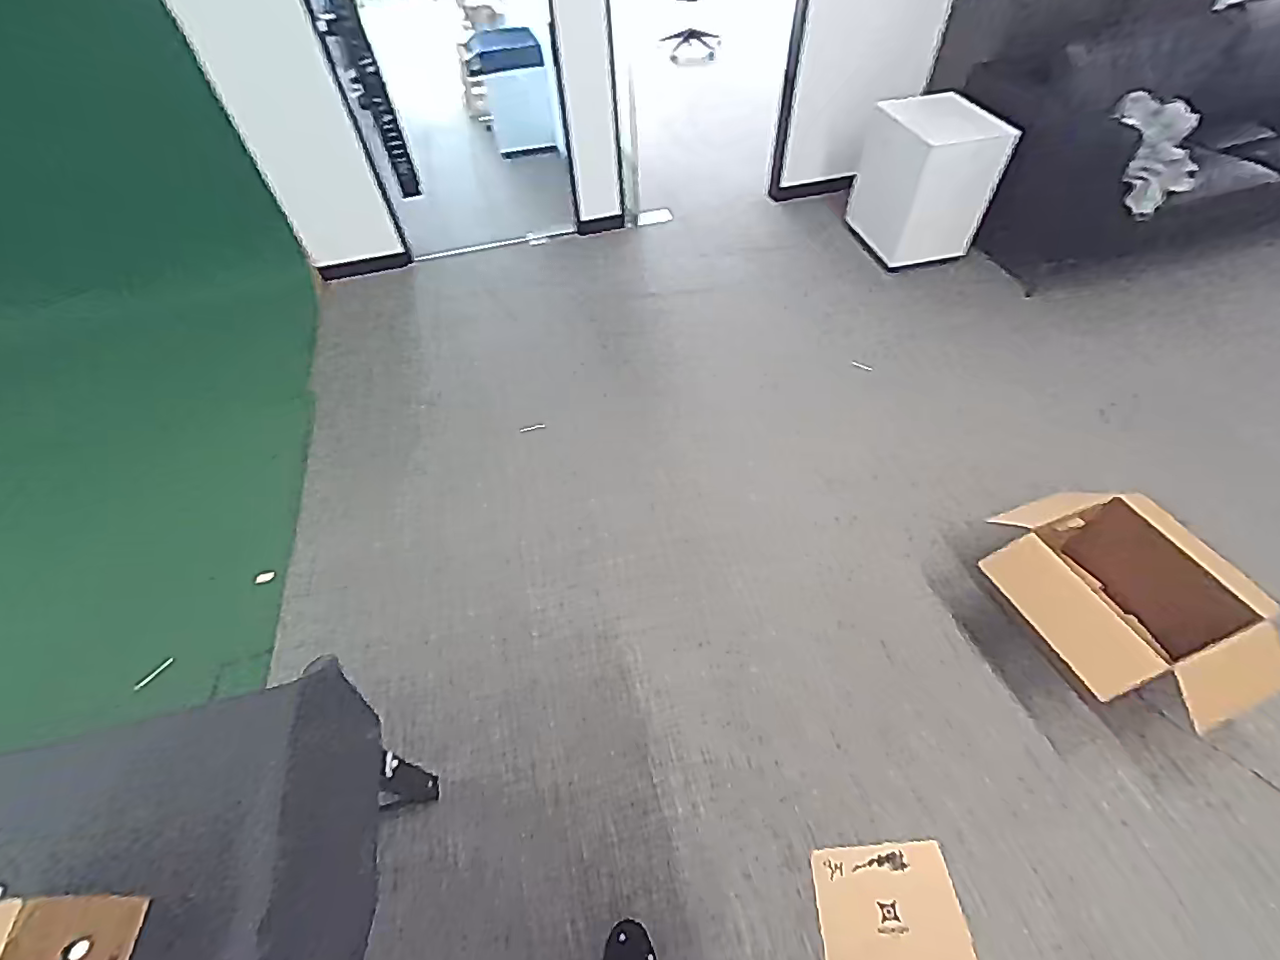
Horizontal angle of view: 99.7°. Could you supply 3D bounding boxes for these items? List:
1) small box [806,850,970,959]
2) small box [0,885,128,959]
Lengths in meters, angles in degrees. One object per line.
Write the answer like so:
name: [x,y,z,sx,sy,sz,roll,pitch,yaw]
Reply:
small box: [0.313,0.594,0.657,0.168,0.176,0.179,-15,22,16]
small box: [-0.700,0.525,0.551,0.179,0.176,0.168,-6,50,-1]
